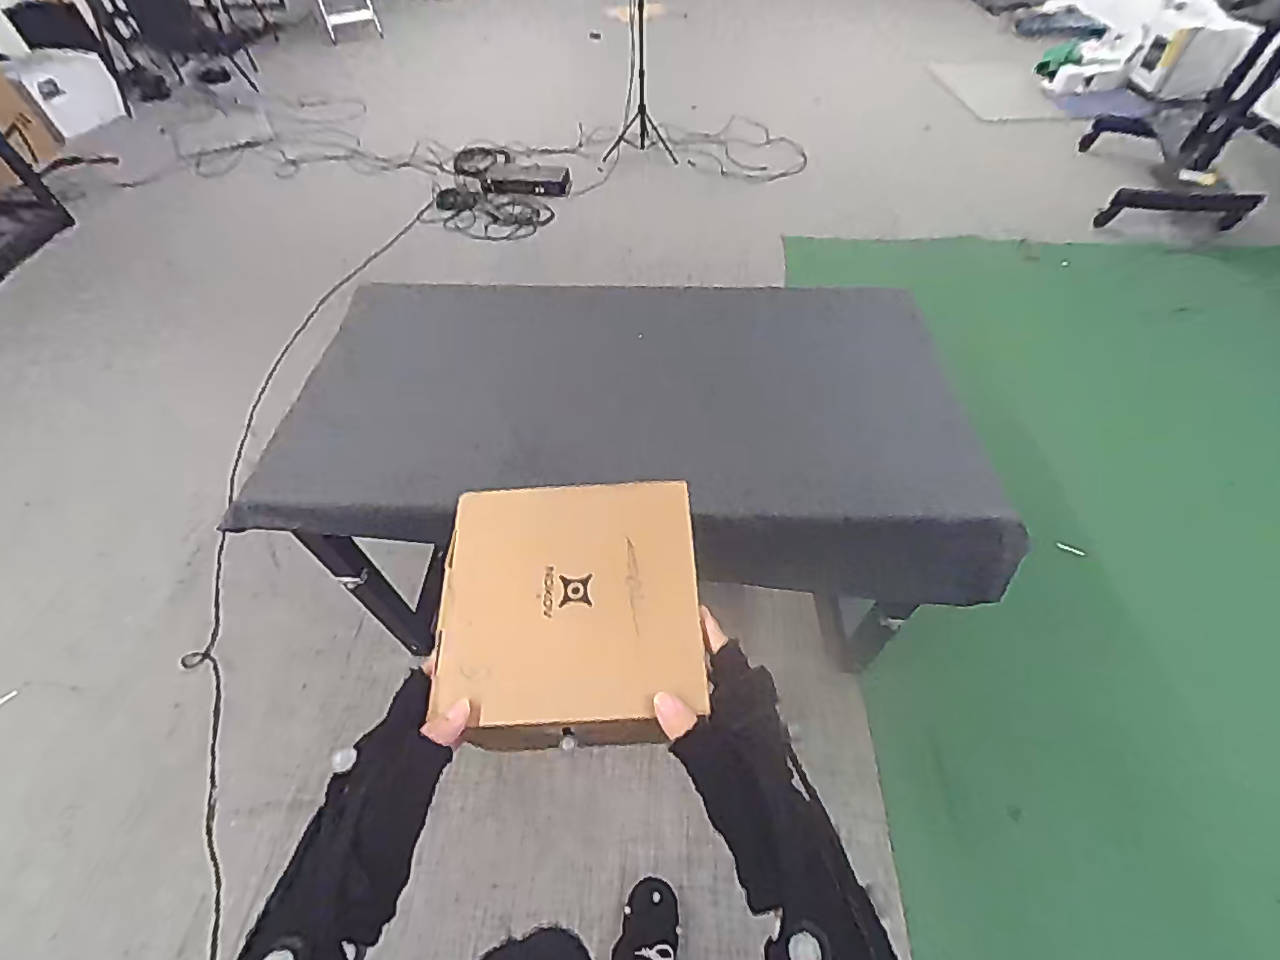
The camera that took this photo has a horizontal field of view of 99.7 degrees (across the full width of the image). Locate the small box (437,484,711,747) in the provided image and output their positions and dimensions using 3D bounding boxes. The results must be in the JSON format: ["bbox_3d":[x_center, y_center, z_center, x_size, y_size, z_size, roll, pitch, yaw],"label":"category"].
[{"bbox_3d":[-0.044,0.119,0.444,0.179,0.176,0.168,-4,60,-2],"label":"small box"}]
